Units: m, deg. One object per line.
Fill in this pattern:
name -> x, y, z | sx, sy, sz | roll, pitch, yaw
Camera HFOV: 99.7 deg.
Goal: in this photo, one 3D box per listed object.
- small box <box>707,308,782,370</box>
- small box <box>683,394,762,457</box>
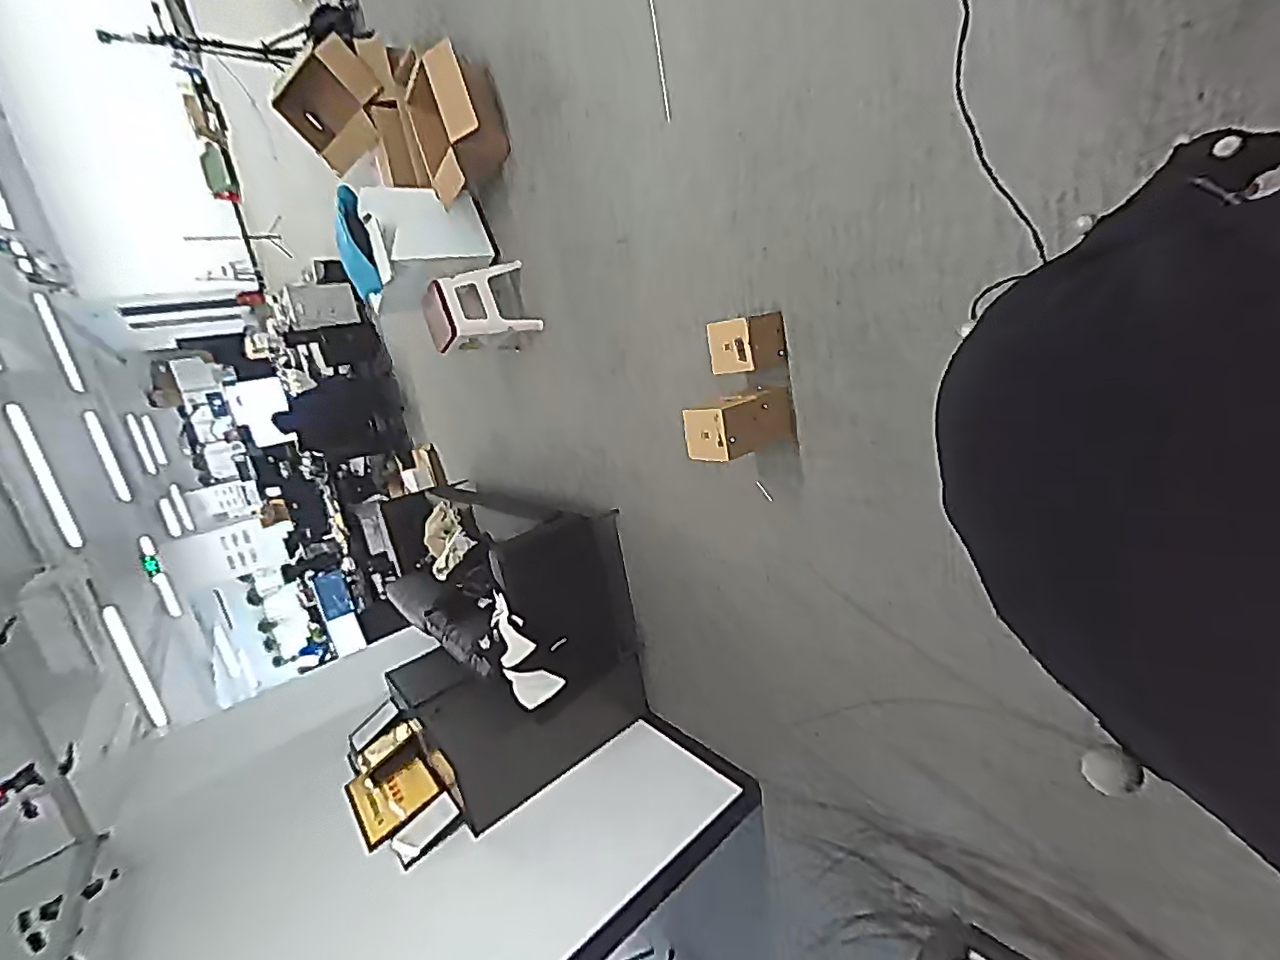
small box -> 0.348, -0.459, 1.762 | 0.179, 0.176, 0.168 | 8, 113, 52
small box -> 0.265, -0.178, 1.731 | 0.179, 0.176, 0.168 | 9, 114, 52
